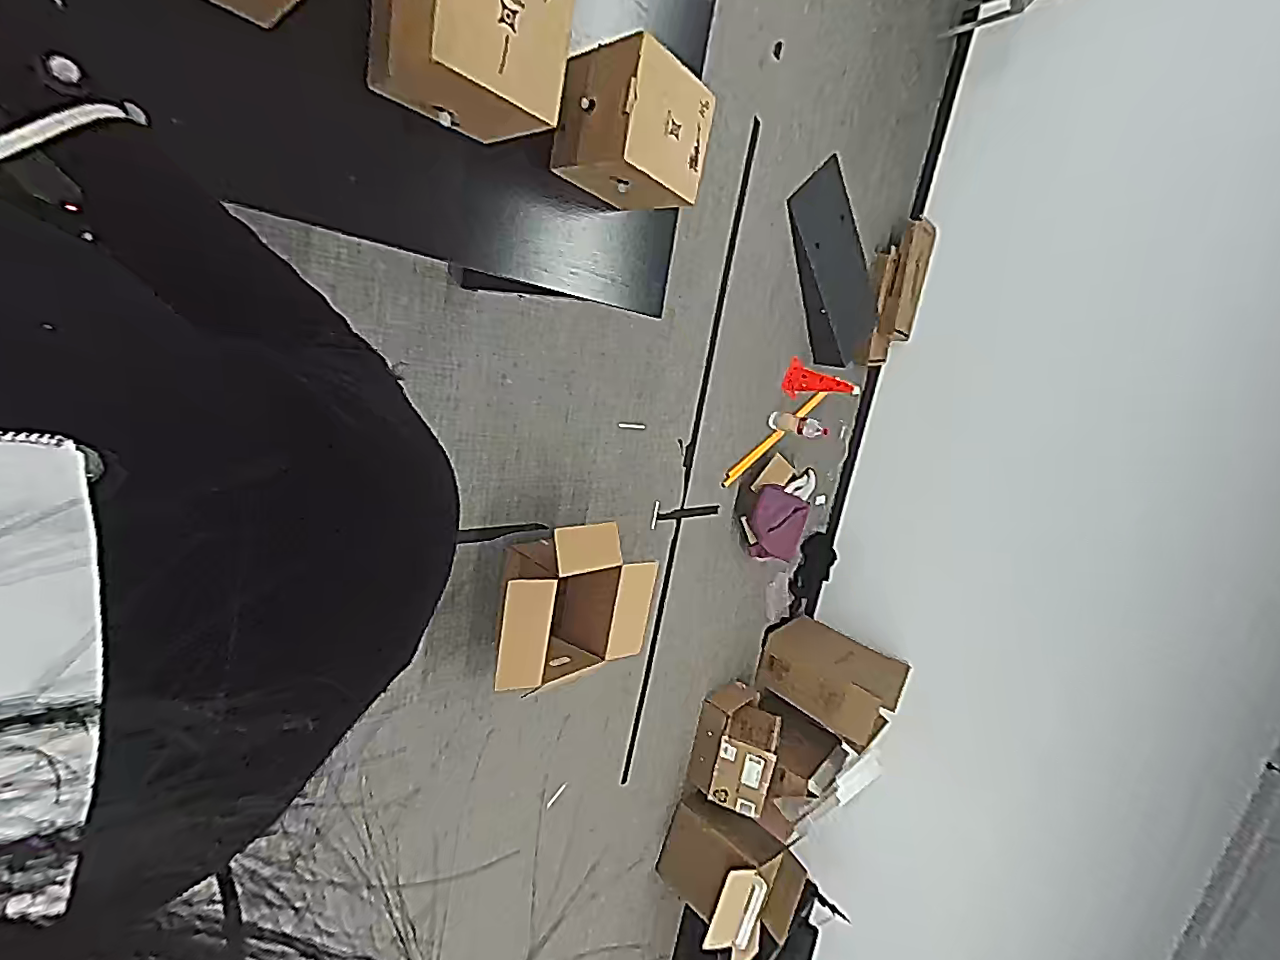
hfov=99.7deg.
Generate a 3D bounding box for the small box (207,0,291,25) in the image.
[{"bbox_3d":[-0.381,-0.534,0.451,0.168,0.176,0.179,-4,108,-48],"label":"small box"}]

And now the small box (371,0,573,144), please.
[{"bbox_3d":[-0.205,-0.536,0.649,0.168,0.176,0.179,-3,109,-48],"label":"small box"}]

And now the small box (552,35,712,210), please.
[{"bbox_3d":[-0.016,-0.545,0.858,0.179,0.176,0.168,1,105,-48],"label":"small box"}]
